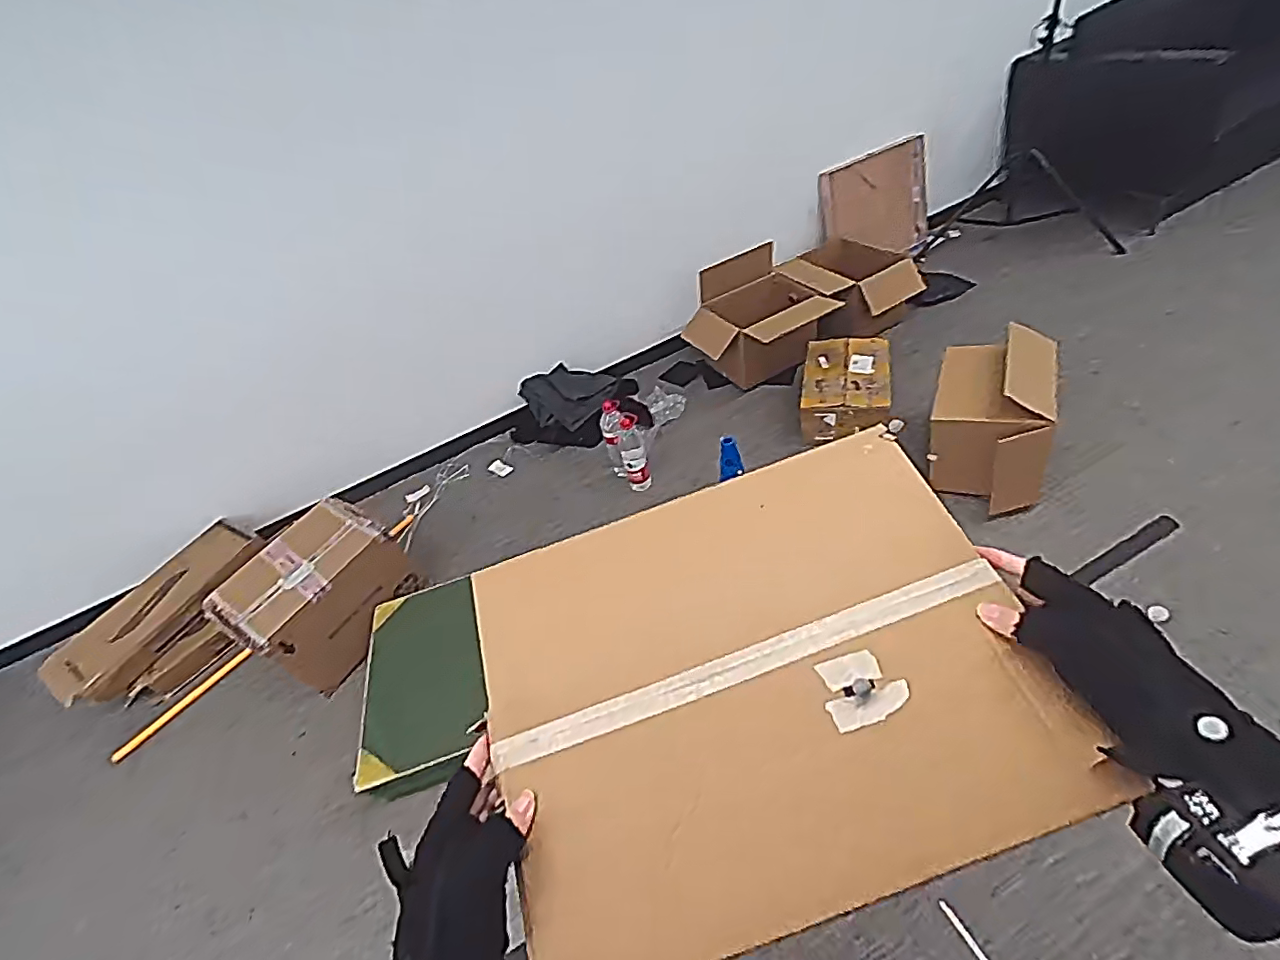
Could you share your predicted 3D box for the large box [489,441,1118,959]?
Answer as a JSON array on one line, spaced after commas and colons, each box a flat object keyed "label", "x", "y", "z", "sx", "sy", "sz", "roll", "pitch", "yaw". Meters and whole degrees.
[{"label": "large box", "x": 0.112, "y": 0.227, "z": 0.555, "sx": 0.408, "sy": 0.320, "sz": 0.320, "roll": -20, "pitch": 57, "yaw": -1}]
